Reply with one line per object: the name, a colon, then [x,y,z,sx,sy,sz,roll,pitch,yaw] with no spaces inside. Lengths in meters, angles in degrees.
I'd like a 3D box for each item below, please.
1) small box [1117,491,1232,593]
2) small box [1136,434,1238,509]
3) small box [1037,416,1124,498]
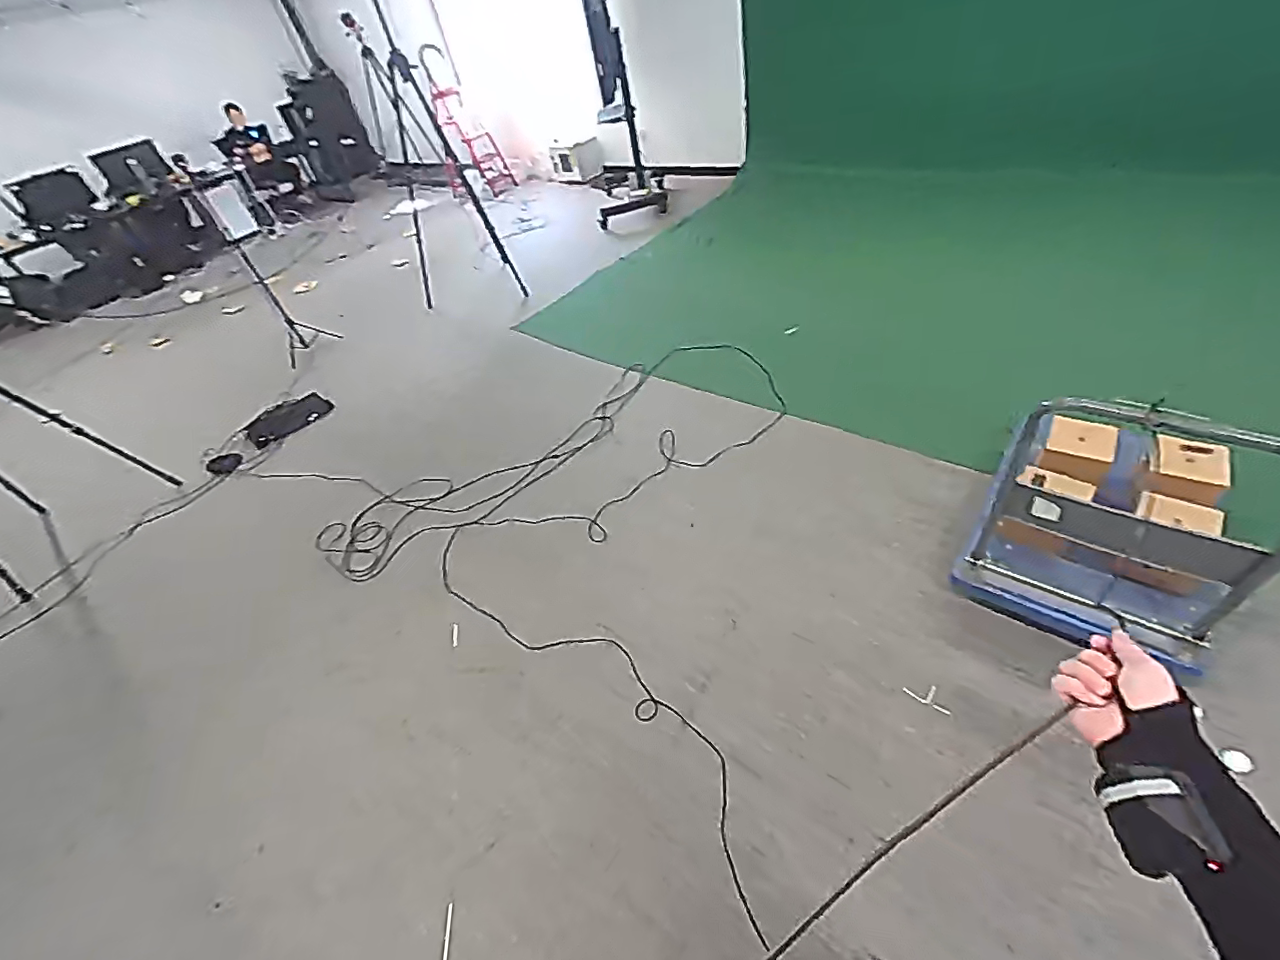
small box: [1.430,0.167,1.454,0.168,0.176,0.179,24,56,34]
small box: [1.595,-0.003,1.583,0.168,0.176,0.179,19,54,32]
small box: [1.391,-0.072,1.714,0.168,0.176,0.179,20,53,31]
